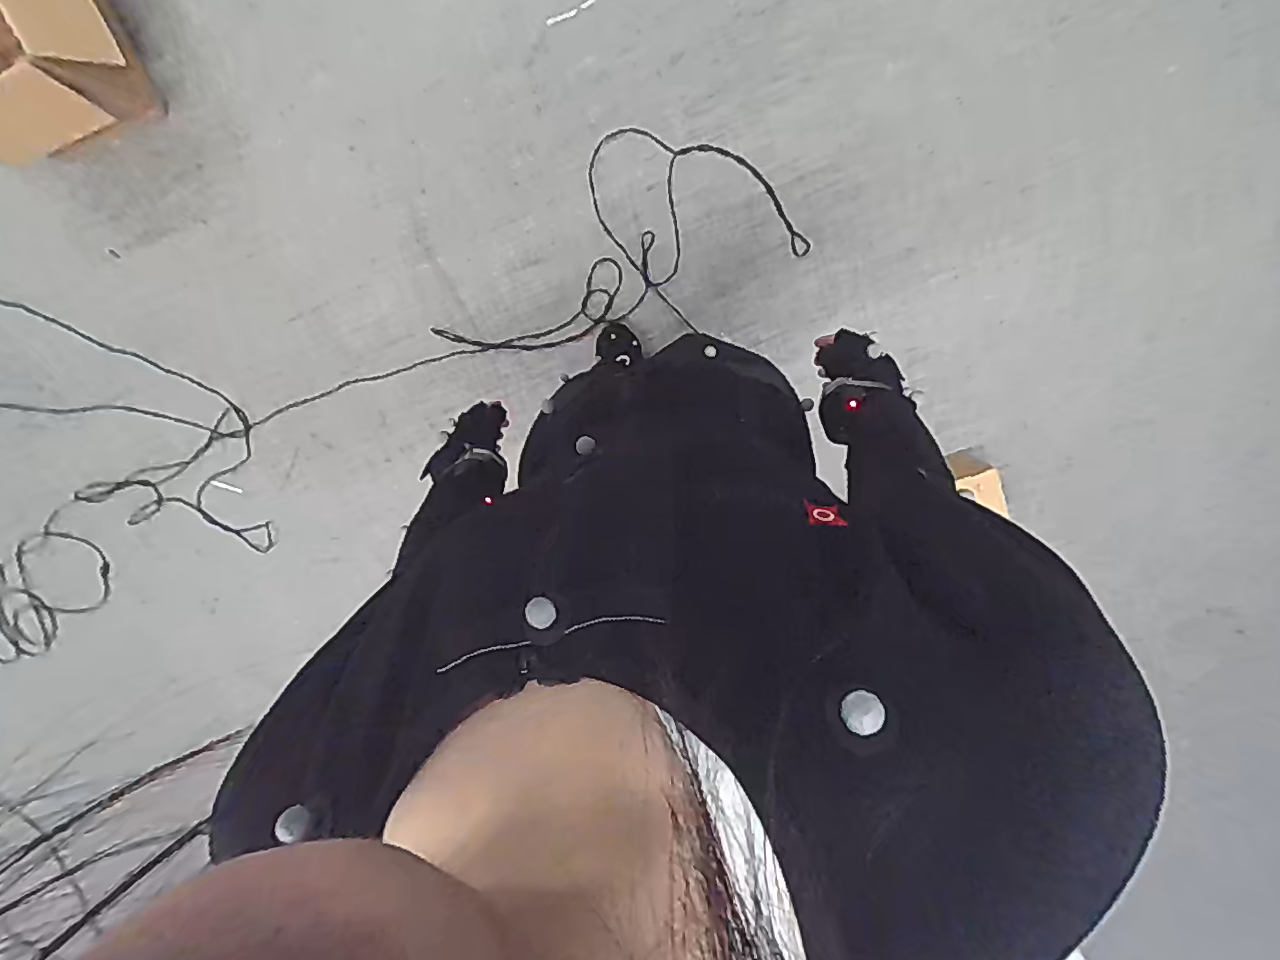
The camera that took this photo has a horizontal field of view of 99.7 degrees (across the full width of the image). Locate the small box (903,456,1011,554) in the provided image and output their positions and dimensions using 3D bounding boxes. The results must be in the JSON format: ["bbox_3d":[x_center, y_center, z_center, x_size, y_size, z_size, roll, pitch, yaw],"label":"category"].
[{"bbox_3d":[0.815,0.060,1.404,0.168,0.176,0.179,-22,104,8],"label":"small box"}]
